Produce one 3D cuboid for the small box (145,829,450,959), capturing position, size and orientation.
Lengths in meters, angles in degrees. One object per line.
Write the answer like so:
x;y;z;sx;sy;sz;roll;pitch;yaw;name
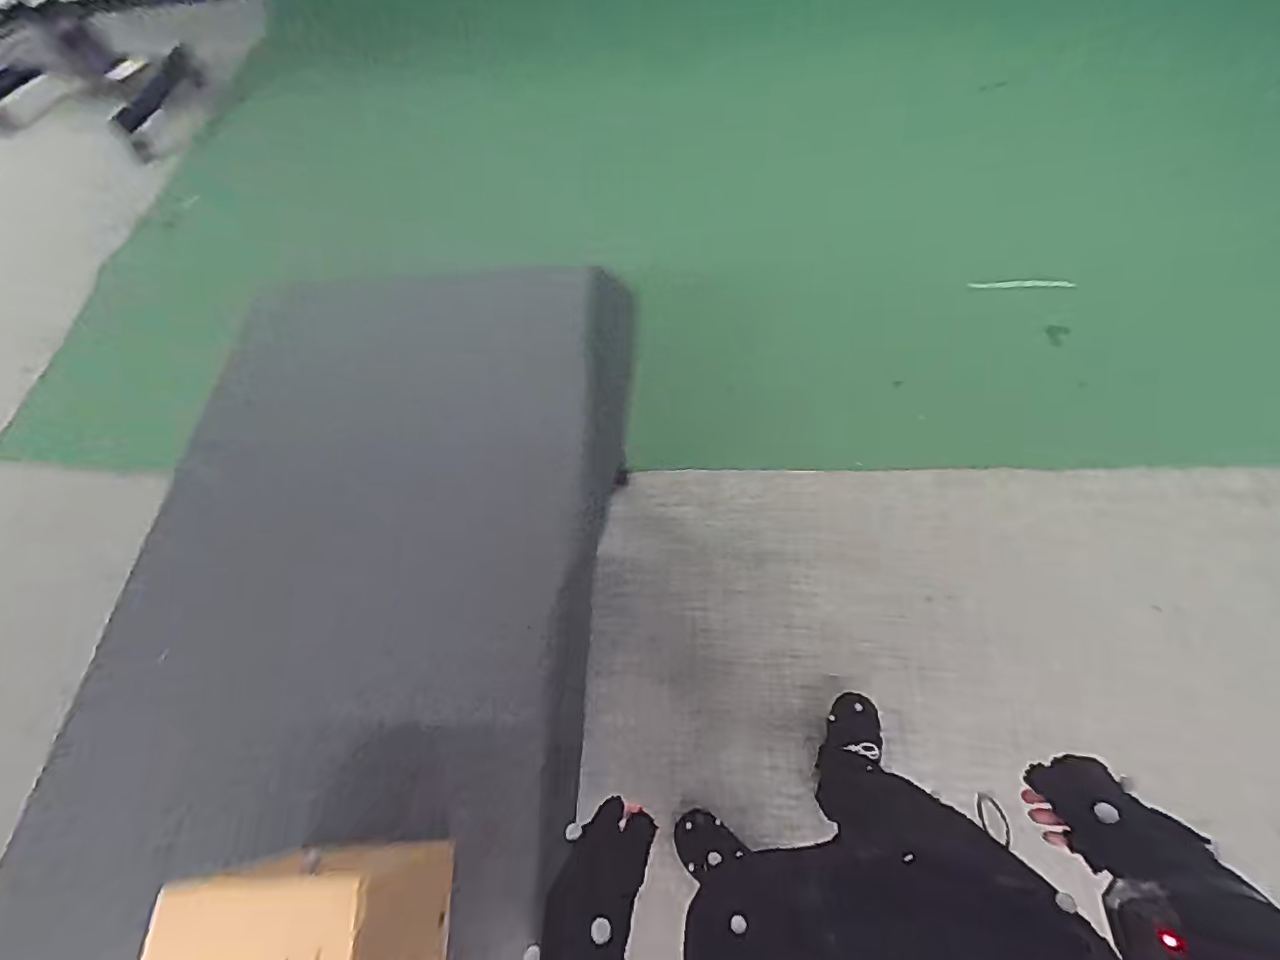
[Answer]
-0.286;0.416;0.474;0.179;0.176;0.168;-6;64;5;small box
